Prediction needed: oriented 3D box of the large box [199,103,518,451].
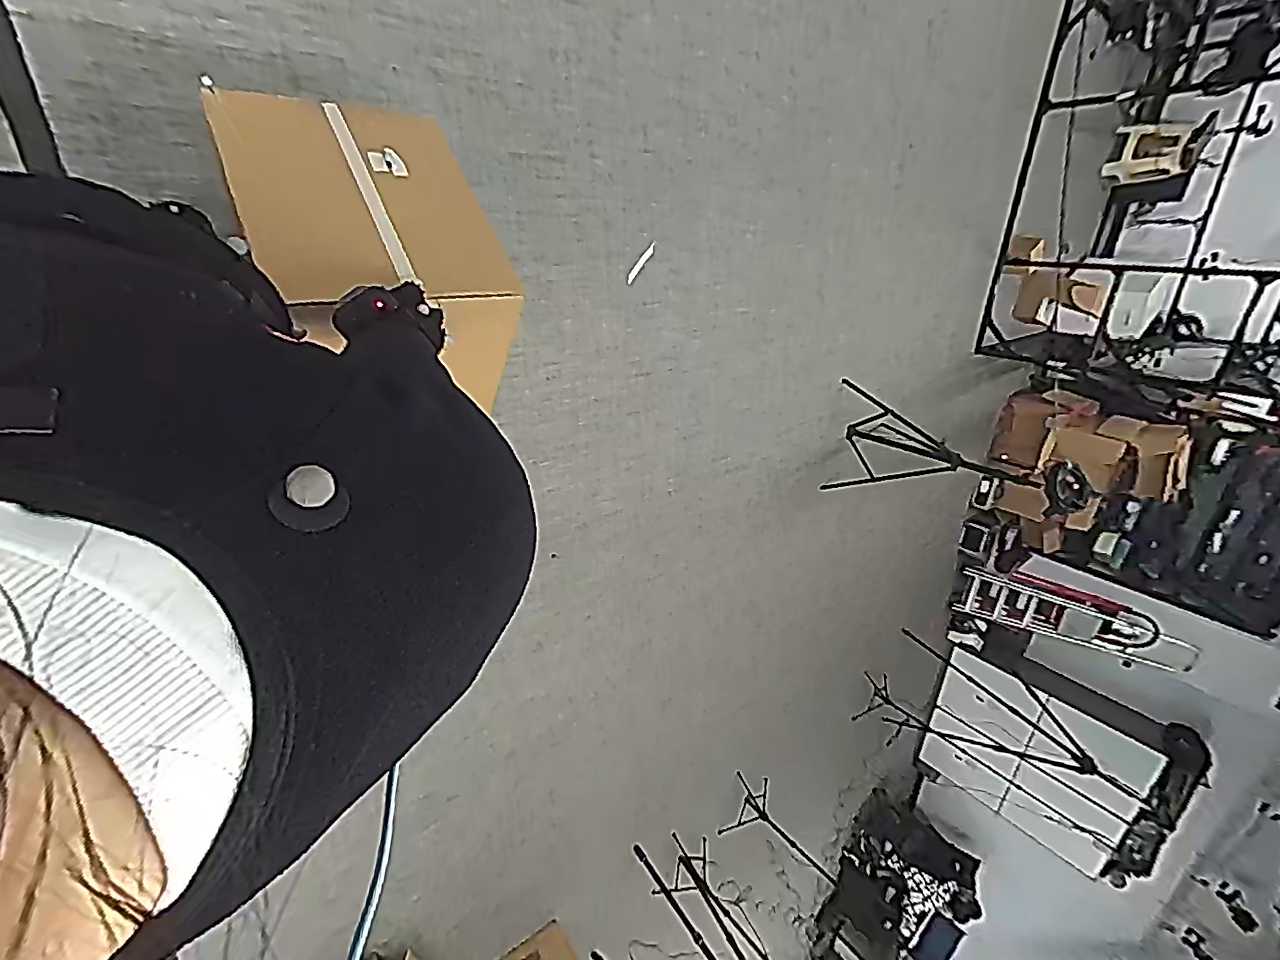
[{"bbox_3d":[-0.446,-0.315,0.878,0.320,0.408,0.320,-16,158,-35],"label":"large box"}]
